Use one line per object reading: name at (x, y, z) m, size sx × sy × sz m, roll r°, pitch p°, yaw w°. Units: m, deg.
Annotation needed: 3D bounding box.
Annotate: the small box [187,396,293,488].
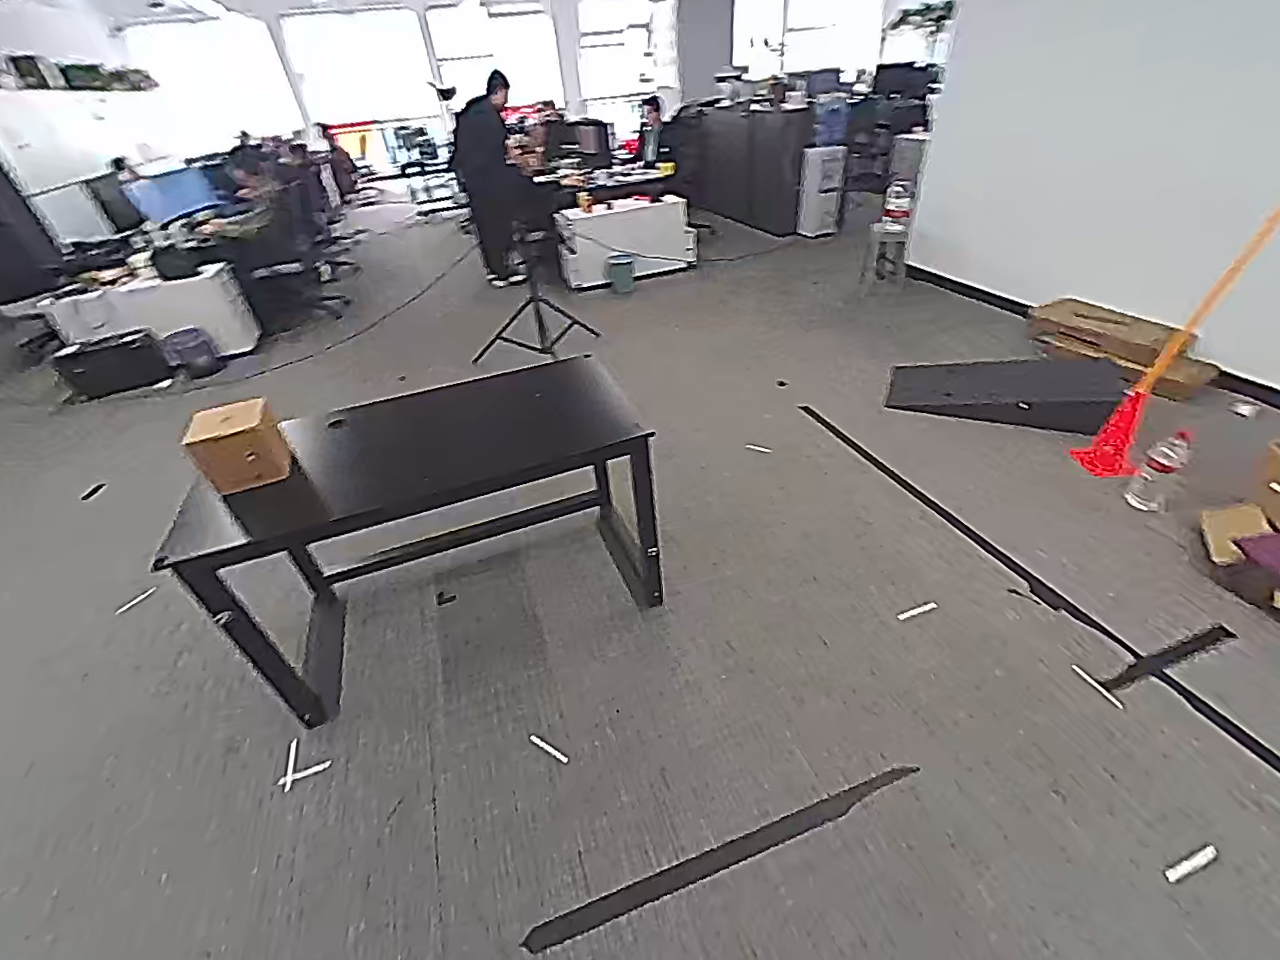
small box at (-1.045, -0.095, 1.430) m, size 0.168 × 0.176 × 0.179 m, roll -17°, pitch 38°, yaw -18°
